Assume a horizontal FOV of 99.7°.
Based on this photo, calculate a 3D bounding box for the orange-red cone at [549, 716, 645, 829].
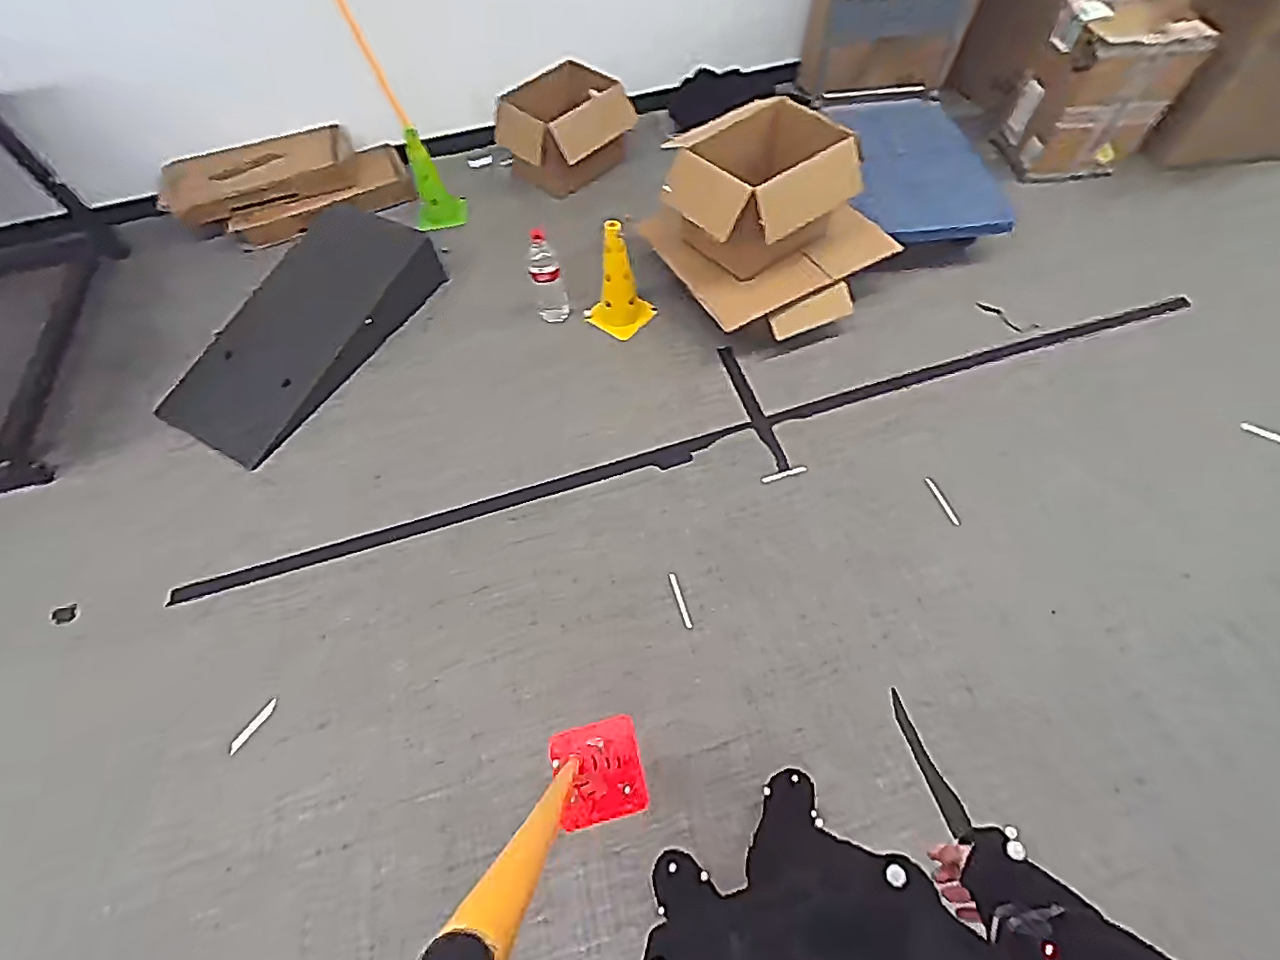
[{"bbox_3d":[-0.107,0.566,1.066,0.198,0.360,0.199,-13,59,-5],"label":"orange-red cone"}]
